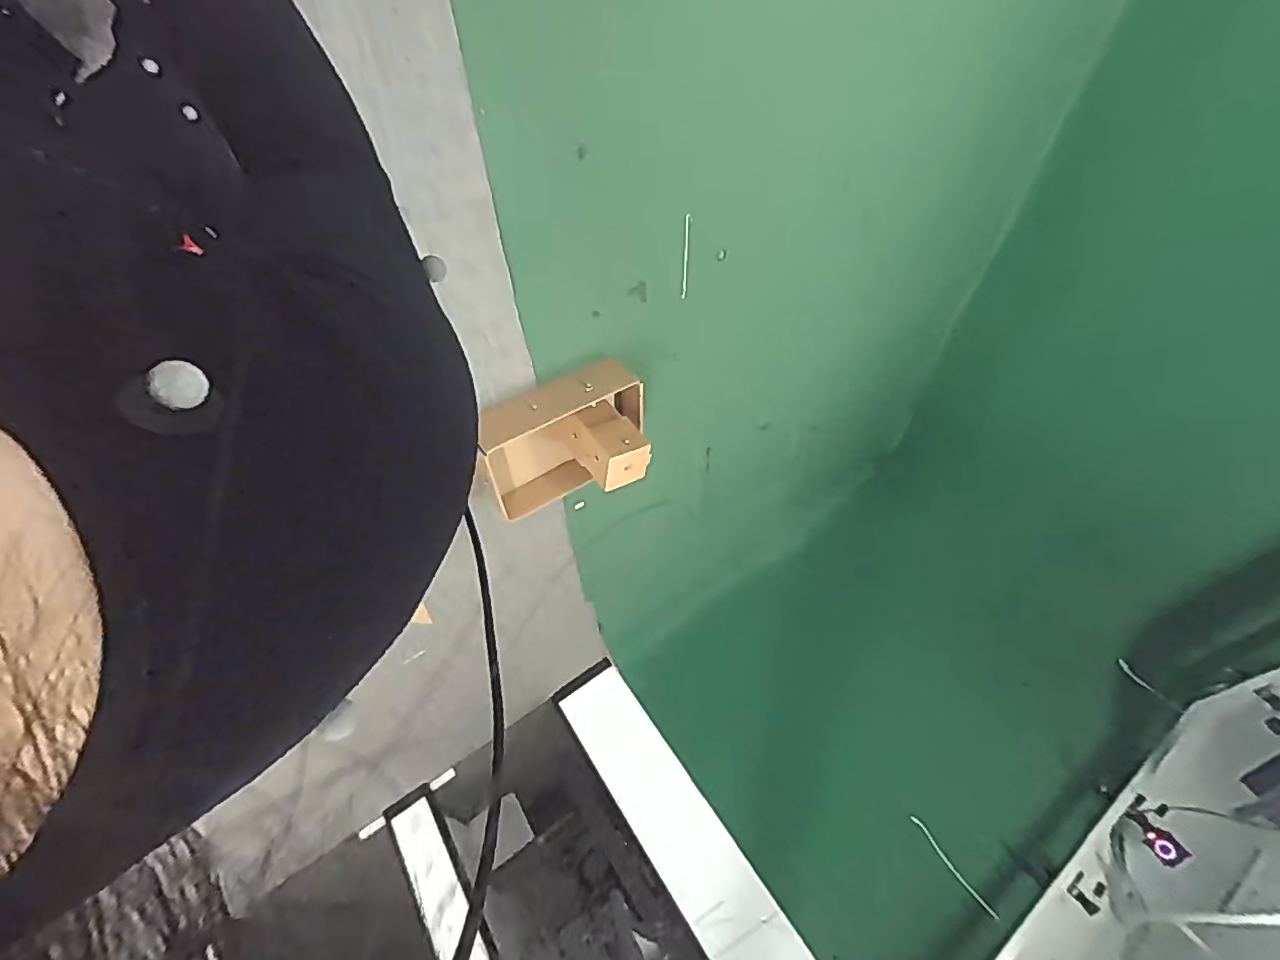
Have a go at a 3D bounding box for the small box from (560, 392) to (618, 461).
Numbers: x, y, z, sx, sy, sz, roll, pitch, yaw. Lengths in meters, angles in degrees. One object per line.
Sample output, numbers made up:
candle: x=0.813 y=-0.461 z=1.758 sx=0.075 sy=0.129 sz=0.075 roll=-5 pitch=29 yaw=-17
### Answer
small box: x=-0.185 y=-0.202 z=2.026 sx=0.168 sy=0.176 sz=0.179 roll=-18 pitch=142 yaw=-33

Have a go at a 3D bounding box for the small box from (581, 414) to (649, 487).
small box: x=-0.096 y=-0.110 z=1.924 sx=0.179 sy=0.176 sz=0.168 roll=-22 pitch=144 yaw=-29
